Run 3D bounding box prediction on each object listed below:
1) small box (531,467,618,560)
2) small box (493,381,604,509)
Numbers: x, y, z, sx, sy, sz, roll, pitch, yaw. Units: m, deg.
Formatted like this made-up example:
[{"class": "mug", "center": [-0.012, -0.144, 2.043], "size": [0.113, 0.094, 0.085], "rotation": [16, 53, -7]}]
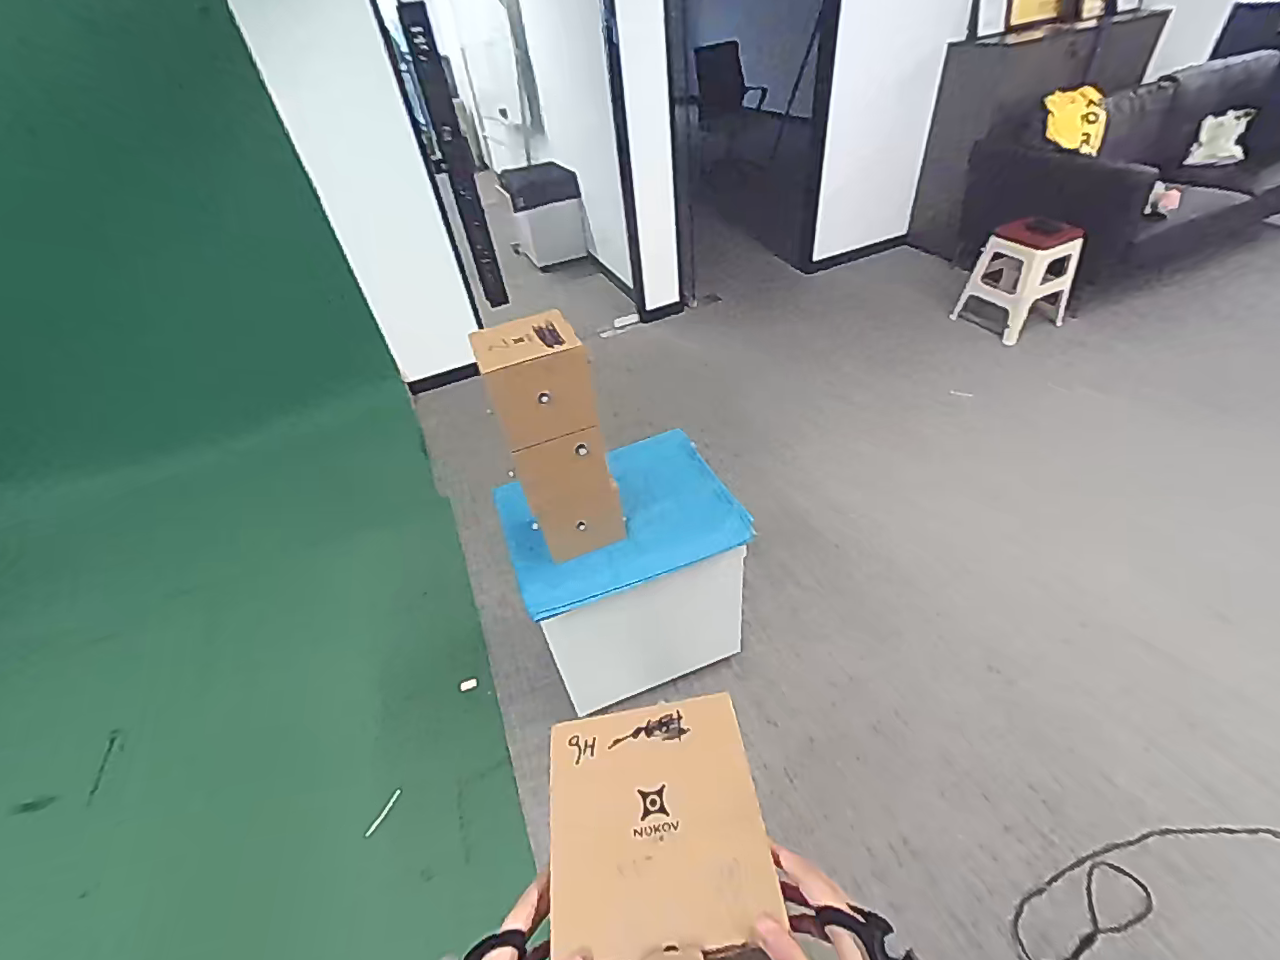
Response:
[{"class": "small box", "center": [-0.155, 0.047, 1.211], "size": [0.179, 0.176, 0.168], "rotation": [-20, 43, -13]}, {"class": "small box", "center": [-0.179, -0.070, 1.098], "size": [0.179, 0.176, 0.168], "rotation": [-19, 43, -13]}]
